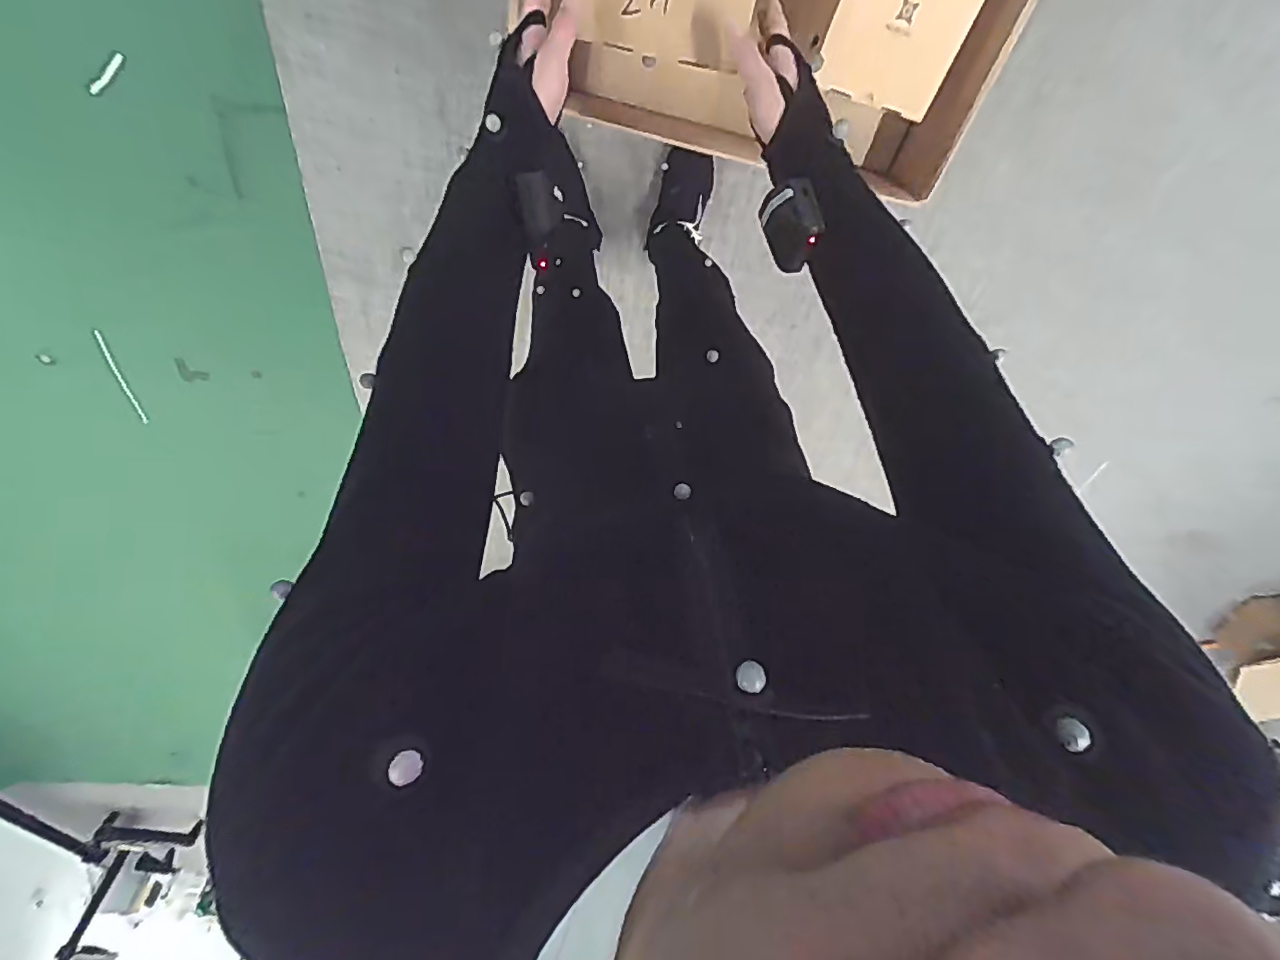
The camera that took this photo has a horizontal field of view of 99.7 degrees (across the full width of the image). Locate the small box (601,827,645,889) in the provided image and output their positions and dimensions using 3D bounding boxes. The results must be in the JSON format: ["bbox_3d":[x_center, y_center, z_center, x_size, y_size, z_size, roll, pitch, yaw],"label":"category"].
[{"bbox_3d":[-0.070,1.479,2.119,0.168,0.176,0.179,2,132,-3],"label":"small box"}]

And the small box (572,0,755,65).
[{"bbox_3d":[0.030,-0.528,0.514,0.168,0.176,0.179,8,132,-8],"label":"small box"}]
